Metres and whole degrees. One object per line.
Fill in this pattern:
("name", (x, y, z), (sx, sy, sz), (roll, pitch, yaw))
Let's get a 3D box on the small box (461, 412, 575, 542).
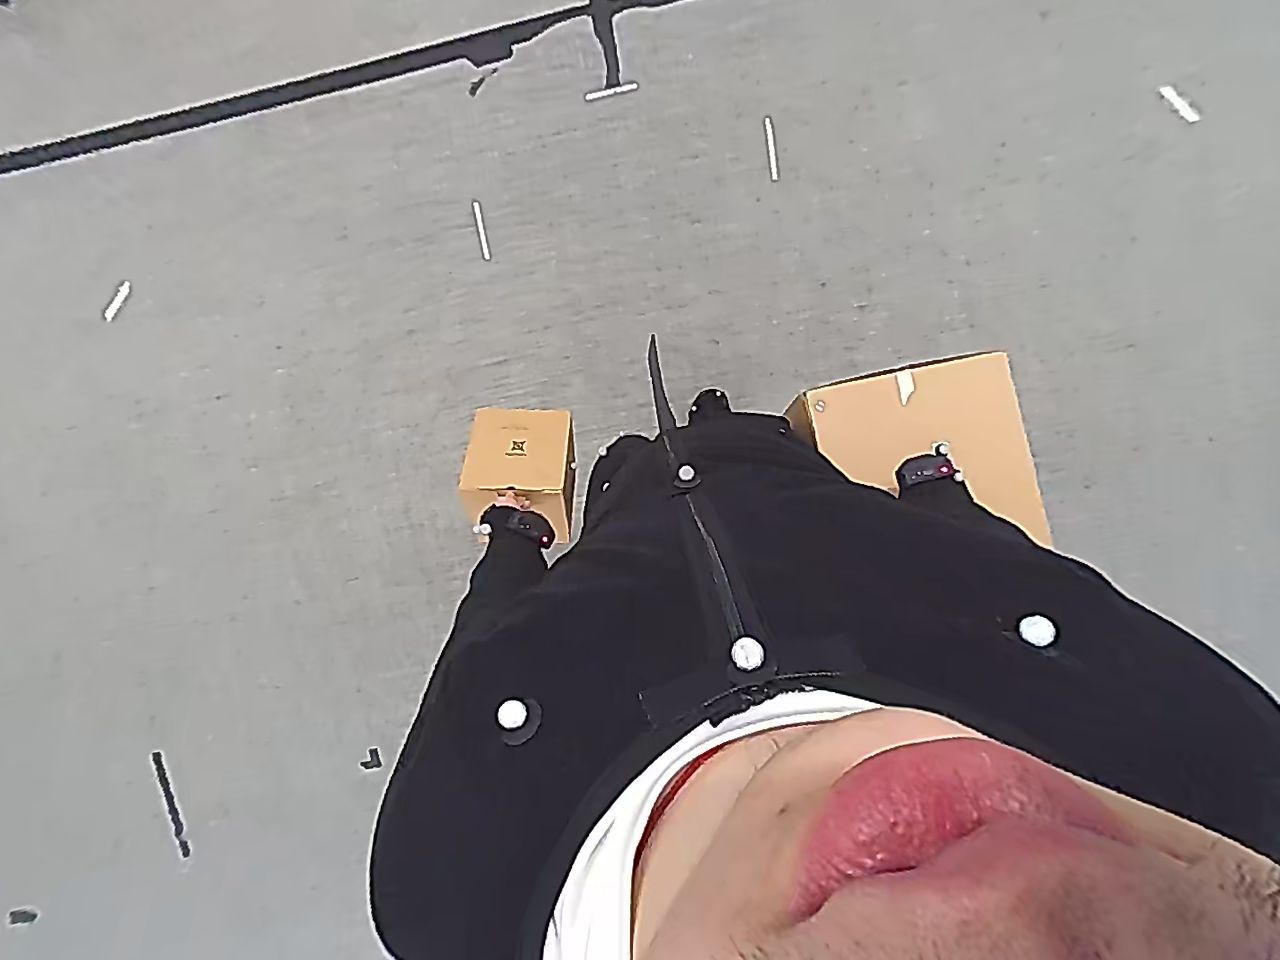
("small box", (-0.206, -0.001, 0.969), (0.168, 0.179, 0.176), (1, 142, -3))
